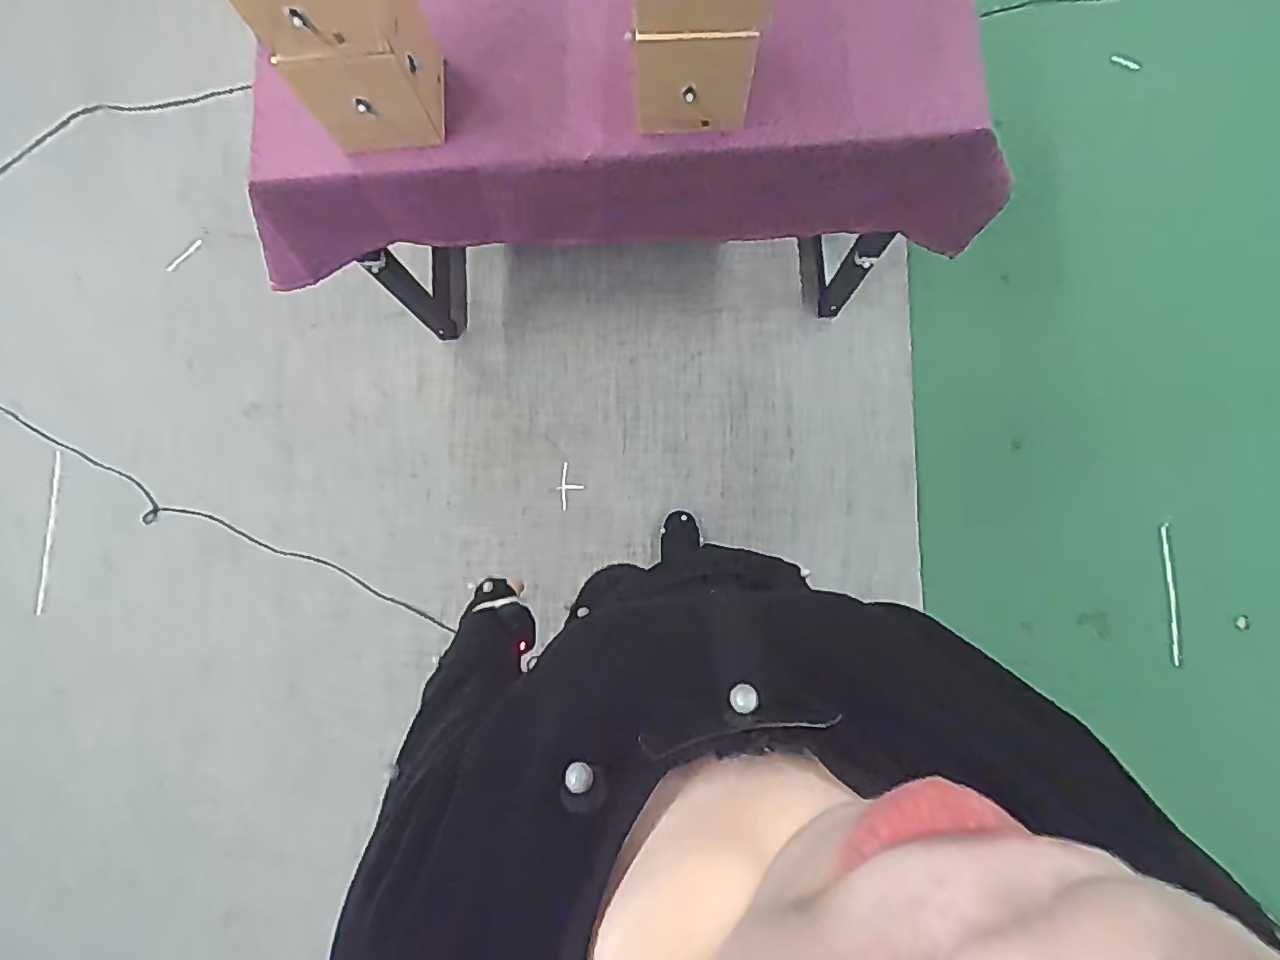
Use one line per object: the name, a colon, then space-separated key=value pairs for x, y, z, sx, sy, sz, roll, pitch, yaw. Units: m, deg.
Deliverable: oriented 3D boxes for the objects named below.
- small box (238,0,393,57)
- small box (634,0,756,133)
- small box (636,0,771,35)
small box: x=-0.416 y=-0.665 z=0.656 sx=0.168 sy=0.176 sz=0.179 roll=-3 pitch=83 yaw=2
small box: x=0.078 y=-0.651 z=0.805 sx=0.168 sy=0.176 sz=0.179 roll=0 pitch=82 yaw=1
small box: x=0.081 y=-0.675 z=0.642 sx=0.179 sy=0.176 sz=0.168 roll=1 pitch=83 yaw=1
